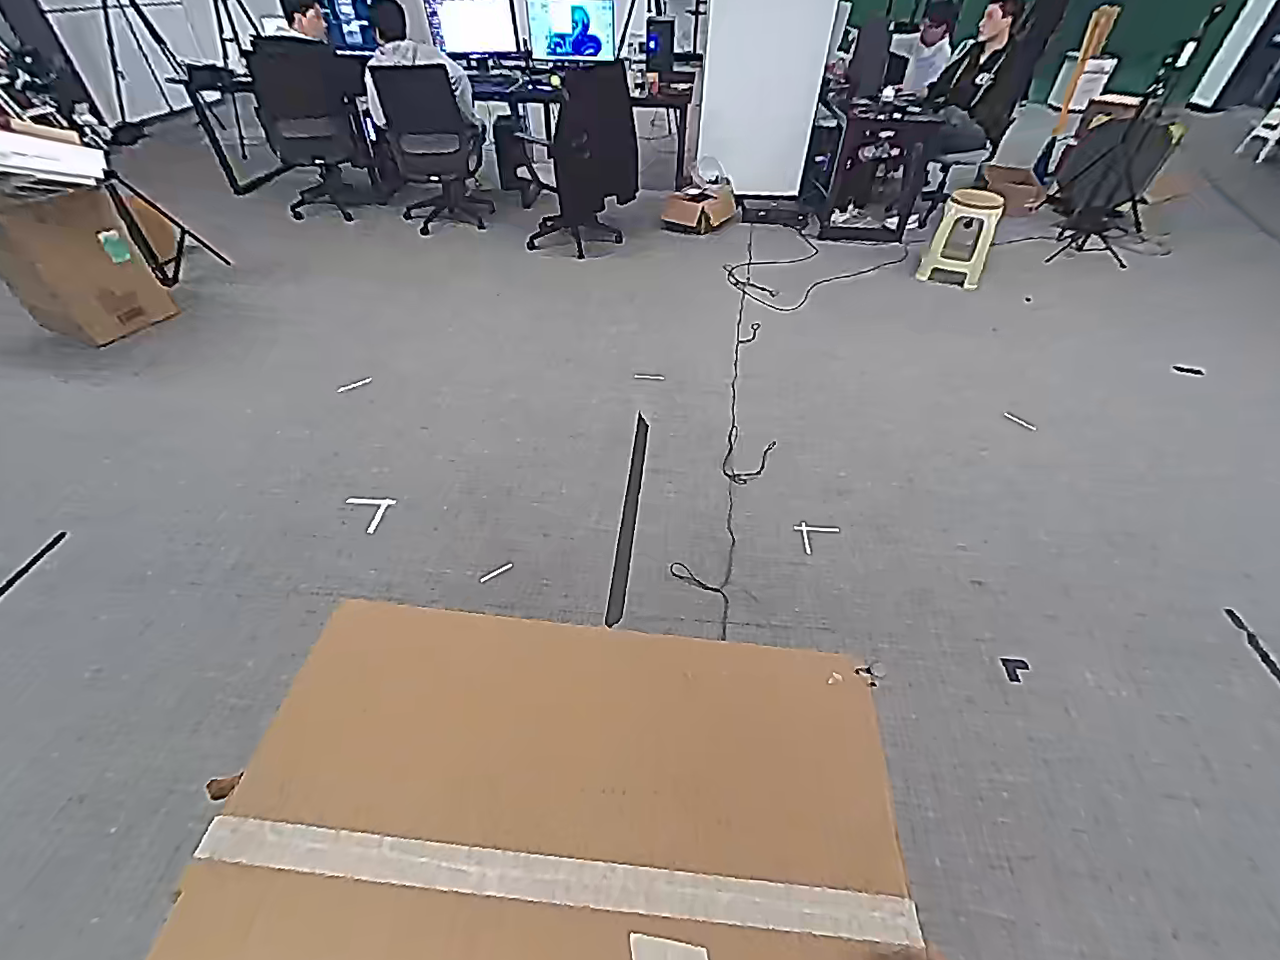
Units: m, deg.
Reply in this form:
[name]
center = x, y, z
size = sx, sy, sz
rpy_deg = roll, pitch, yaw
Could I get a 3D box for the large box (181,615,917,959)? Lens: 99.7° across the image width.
[large box]
center = -0.050, 0.335, 0.427
size = 0.408, 0.320, 0.320
rpy_deg = 6, 48, 1
